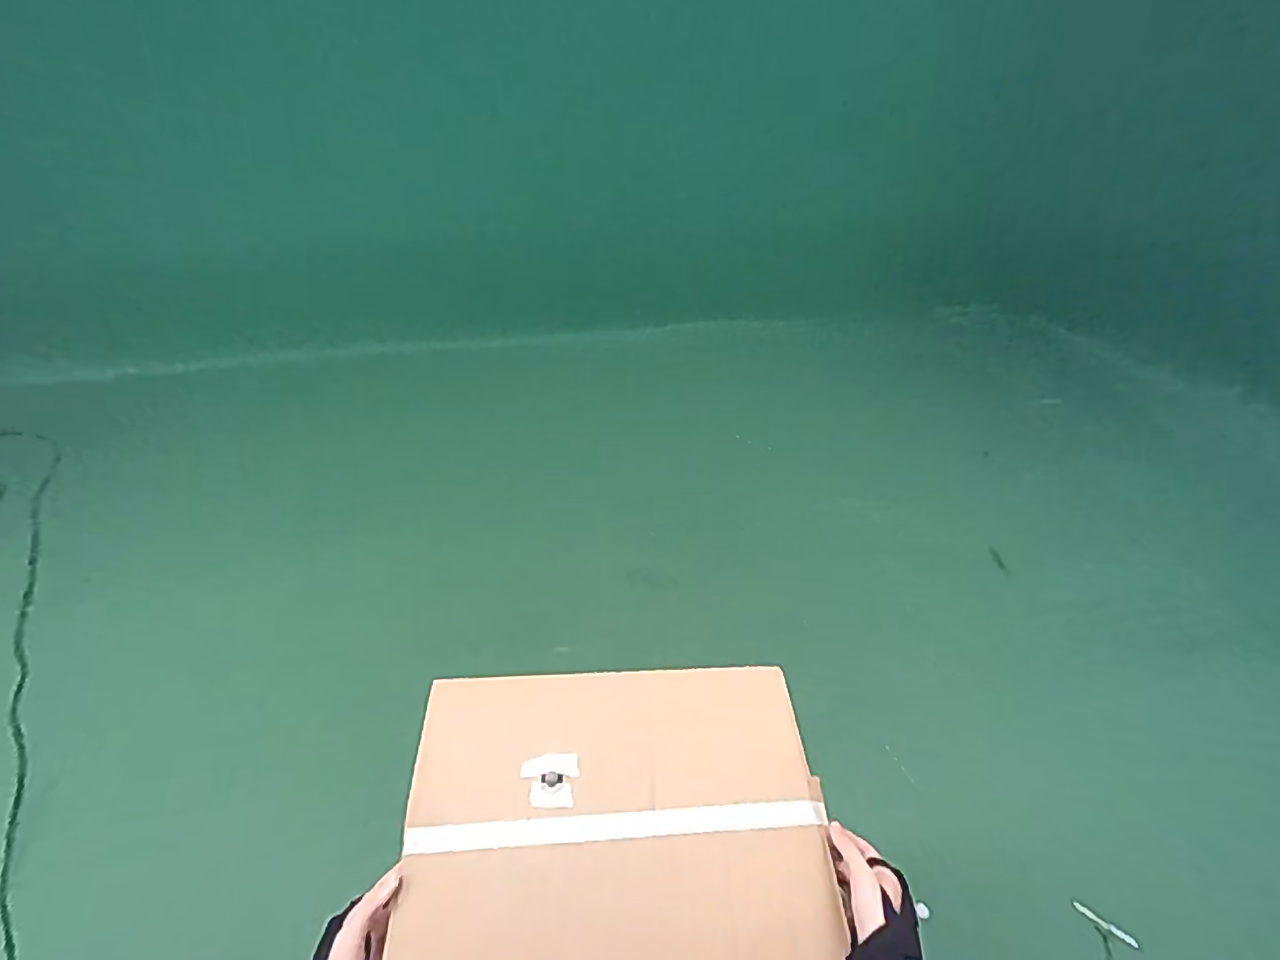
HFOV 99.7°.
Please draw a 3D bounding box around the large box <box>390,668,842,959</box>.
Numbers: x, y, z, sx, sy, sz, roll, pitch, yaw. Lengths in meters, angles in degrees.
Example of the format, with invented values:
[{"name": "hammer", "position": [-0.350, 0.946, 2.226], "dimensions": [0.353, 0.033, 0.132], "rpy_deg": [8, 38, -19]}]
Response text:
[{"name": "large box", "position": [-0.030, 0.442, 0.652], "dimensions": [0.408, 0.320, 0.320], "rpy_deg": [0, 48, -4]}]
